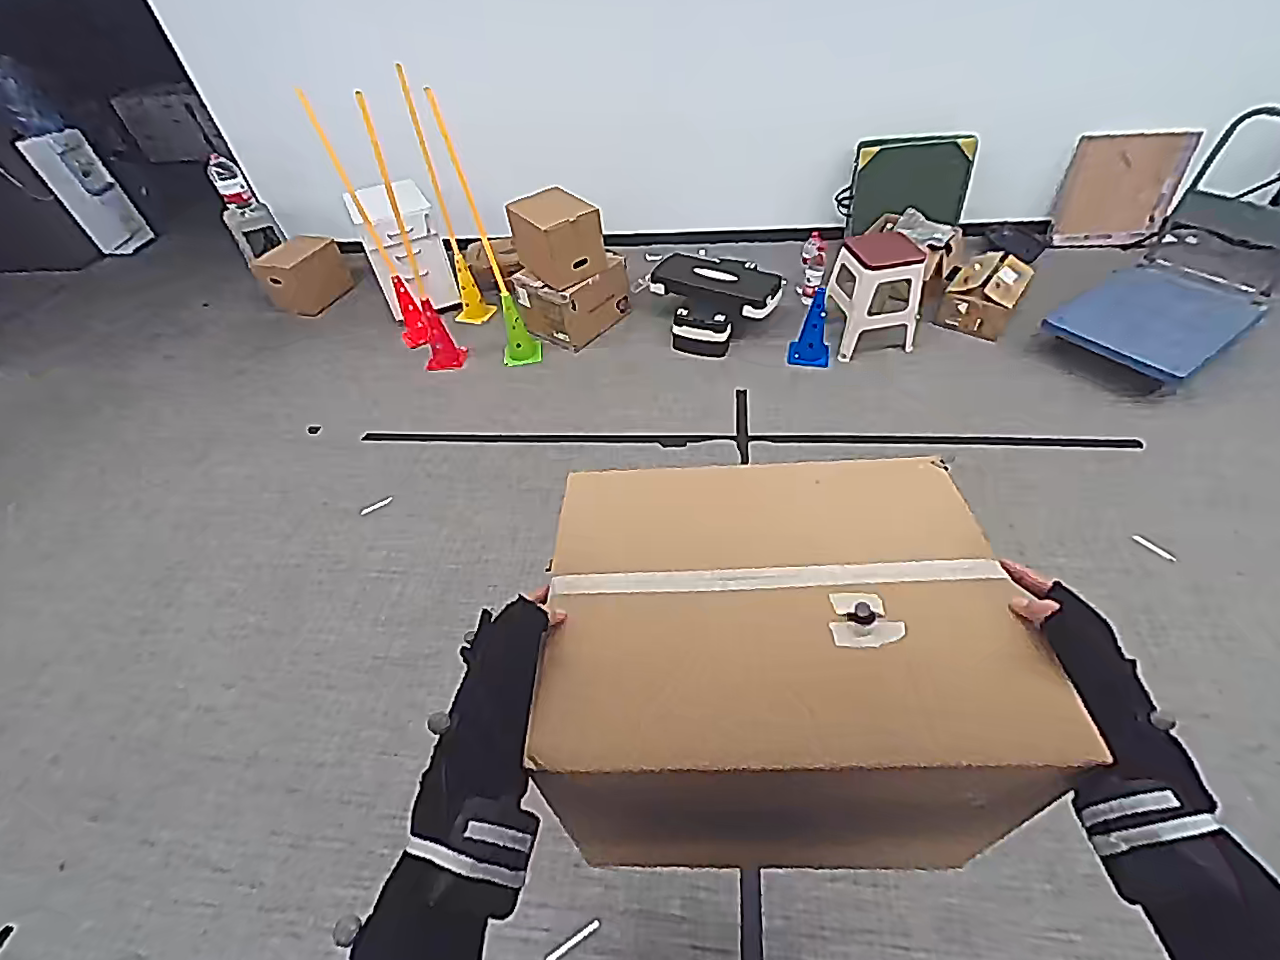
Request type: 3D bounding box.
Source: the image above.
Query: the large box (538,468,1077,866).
[{"bbox_3d":[0.129,0.209,0.605,0.408,0.320,0.320,-2,44,3],"label":"large box"}]
